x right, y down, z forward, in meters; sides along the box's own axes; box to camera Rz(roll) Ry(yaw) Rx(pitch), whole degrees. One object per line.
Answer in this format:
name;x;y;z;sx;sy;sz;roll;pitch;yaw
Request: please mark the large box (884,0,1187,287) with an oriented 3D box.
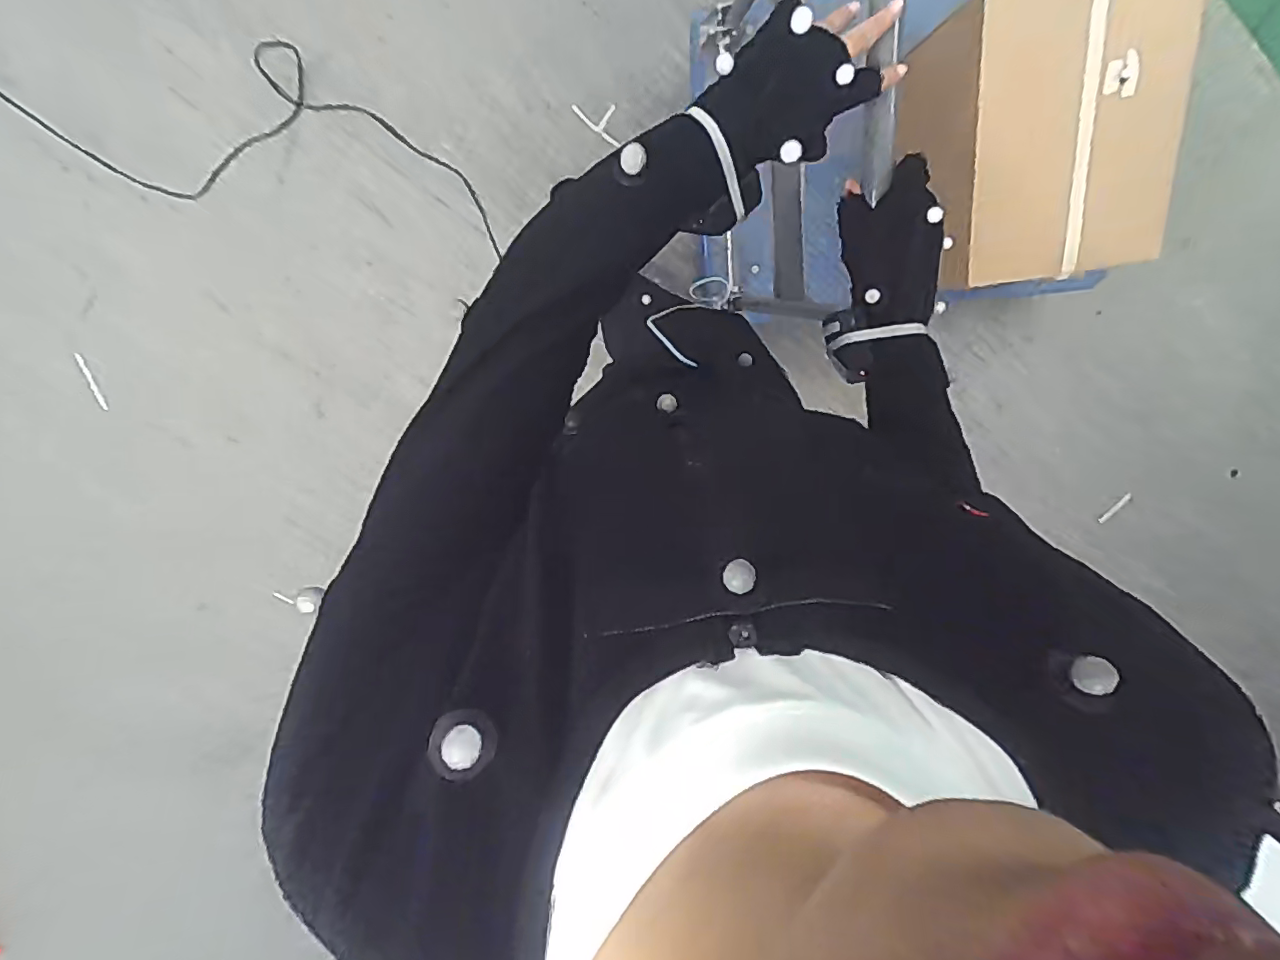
large box;0.653;-0.581;0.964;0.320;0.320;0.408;-8;108;1
